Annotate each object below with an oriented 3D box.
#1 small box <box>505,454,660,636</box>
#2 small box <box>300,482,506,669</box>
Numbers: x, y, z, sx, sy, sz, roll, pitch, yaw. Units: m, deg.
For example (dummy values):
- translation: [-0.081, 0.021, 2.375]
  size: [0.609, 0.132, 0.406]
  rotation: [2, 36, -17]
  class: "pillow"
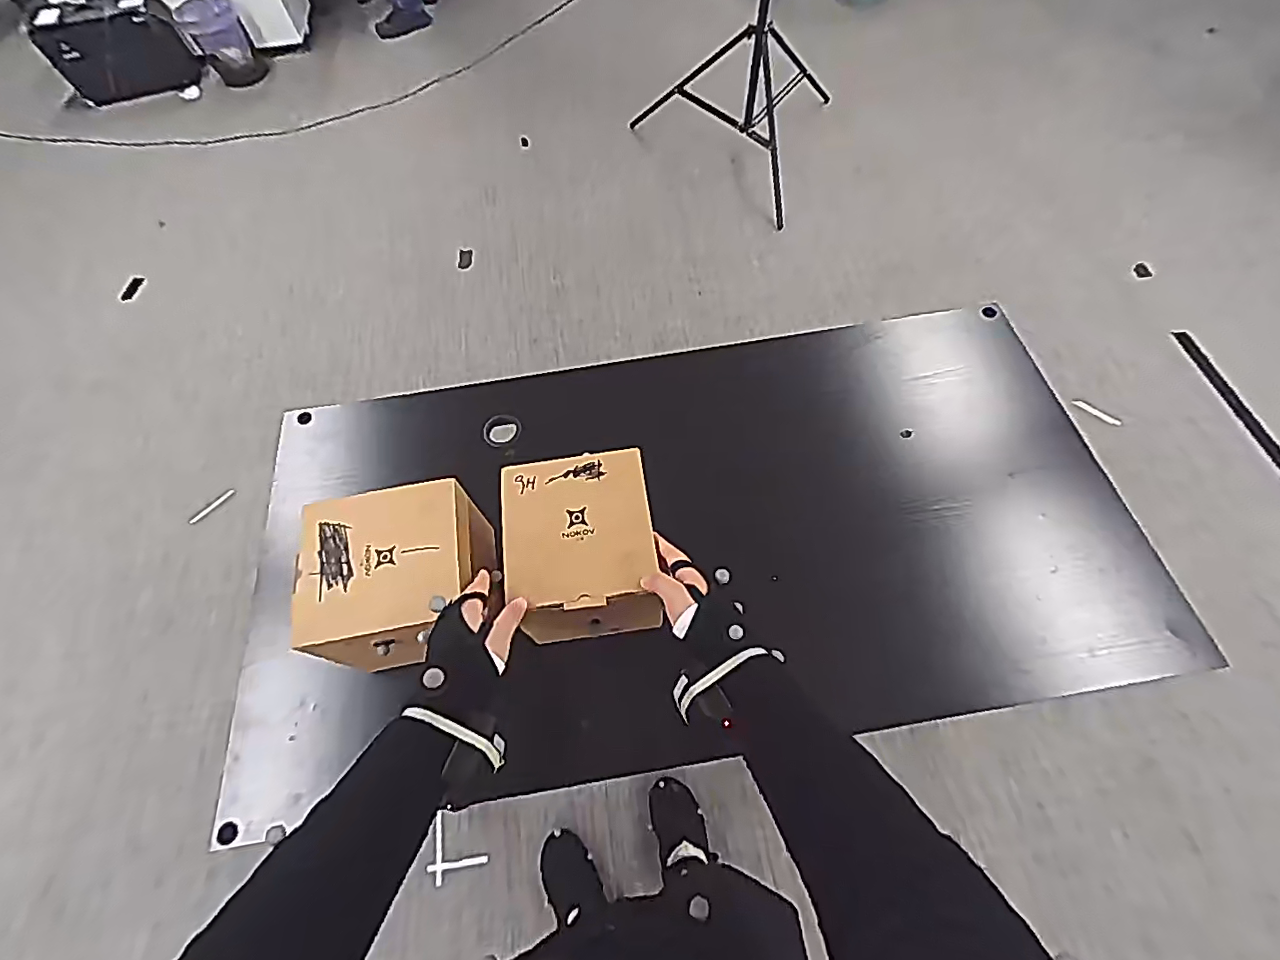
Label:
- translation: [-0.066, 0.091, 0.675]
  size: [0.168, 0.176, 0.179]
  rotation: [-8, 63, -3]
  class: "small box"
- translation: [-0.278, 0.125, 0.668]
  size: [0.179, 0.176, 0.168]
  rotation: [-11, 63, -4]
  class: "small box"
